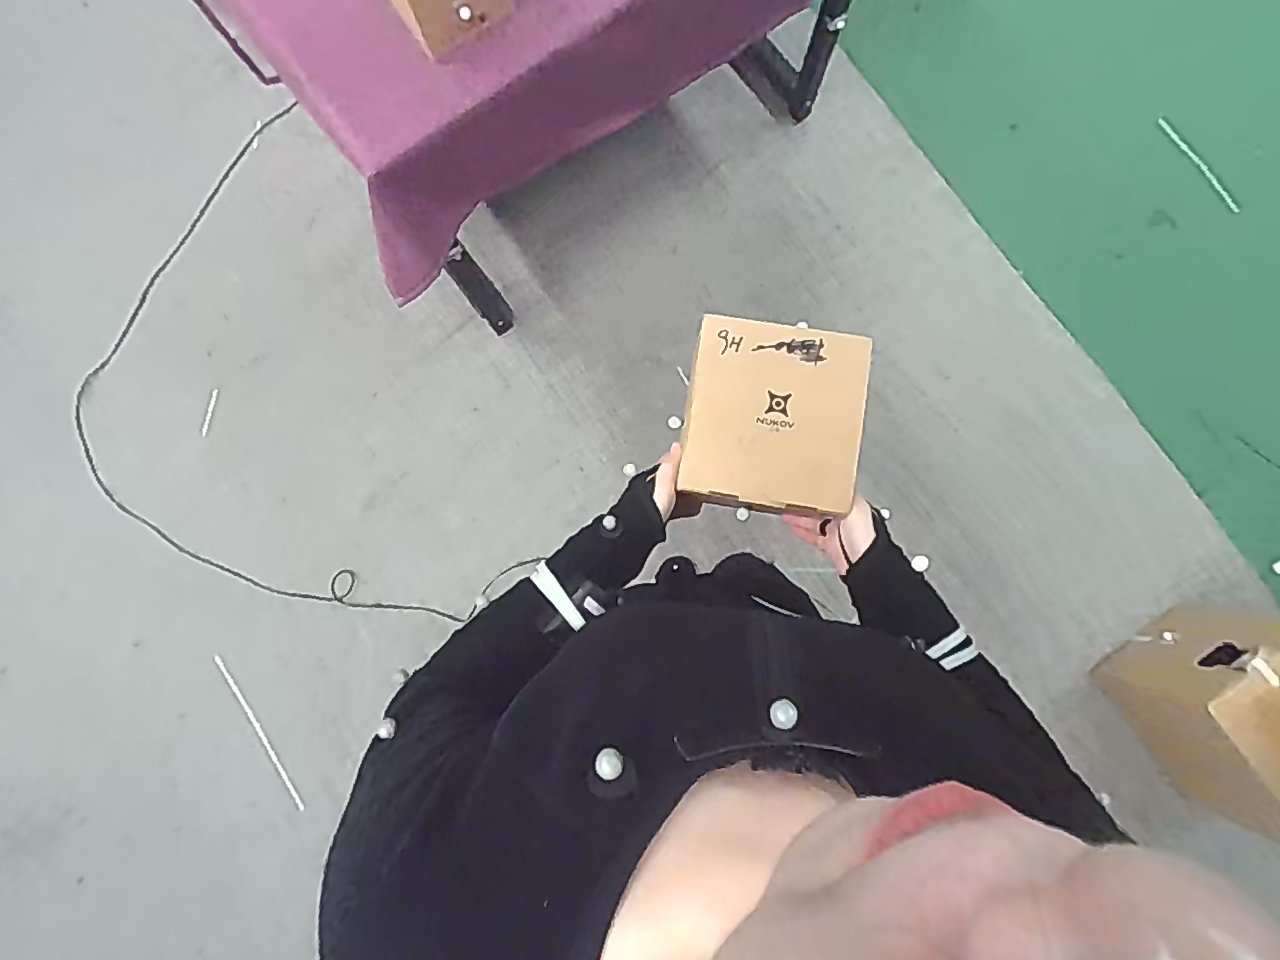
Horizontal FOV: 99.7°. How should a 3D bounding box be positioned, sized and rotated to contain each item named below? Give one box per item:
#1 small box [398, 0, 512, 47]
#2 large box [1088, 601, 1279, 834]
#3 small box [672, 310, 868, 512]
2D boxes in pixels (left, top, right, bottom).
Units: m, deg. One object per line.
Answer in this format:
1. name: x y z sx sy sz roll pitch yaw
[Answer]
1. small box: -0.318 -0.818 0.811 0.168 0.176 0.179 -34 85 -3
2. large box: 1.441 0.558 1.309 0.320 0.320 0.408 -35 86 -3
3. small box: 0.128 -0.064 0.597 0.168 0.176 0.179 8 87 2
